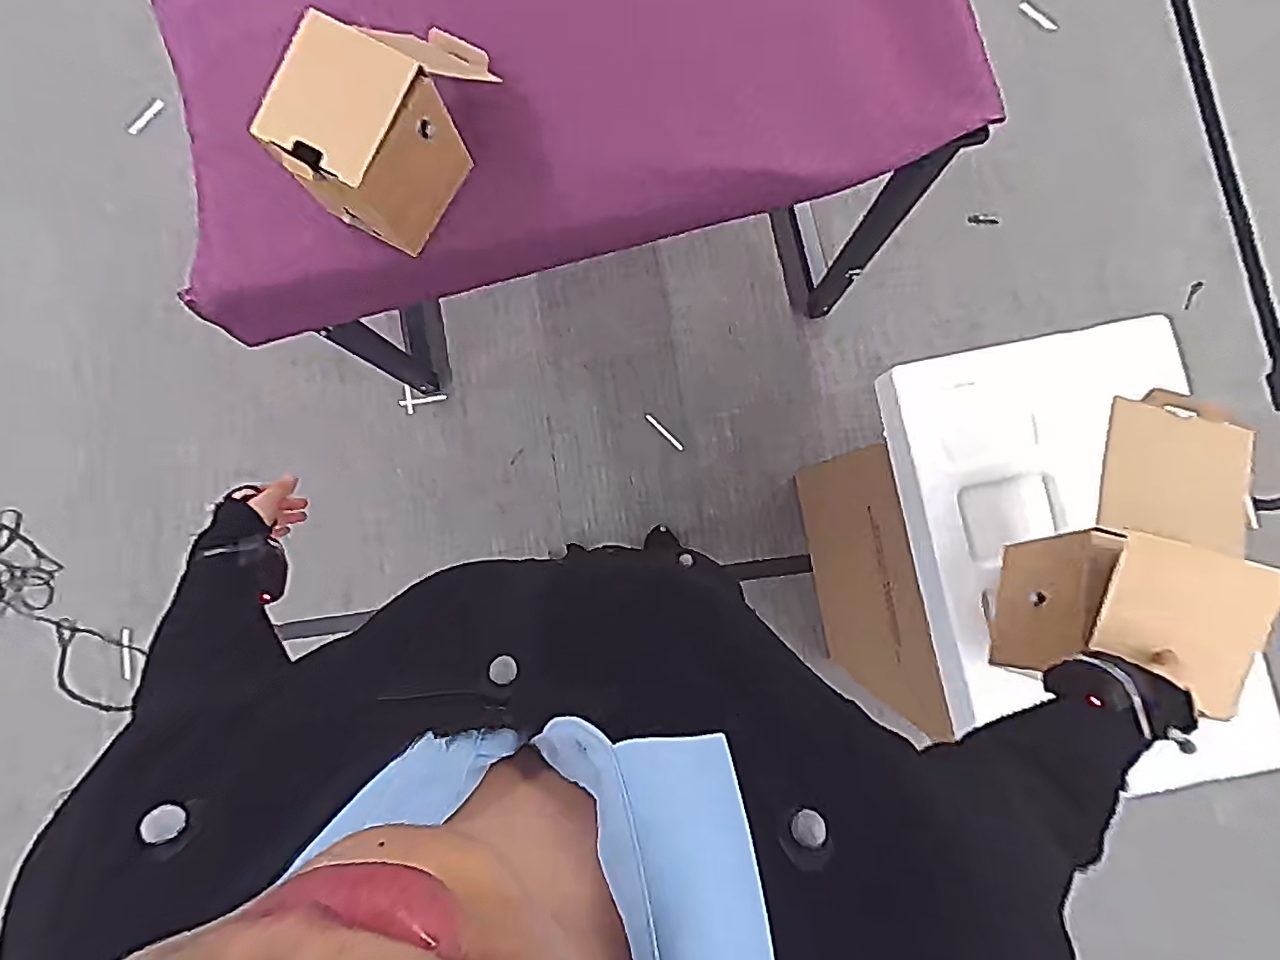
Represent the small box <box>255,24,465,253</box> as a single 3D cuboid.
[{"bbox_3d":[-0.371,-0.463,0.758,0.168,0.176,0.179,29,85,5],"label":"small box"}]
